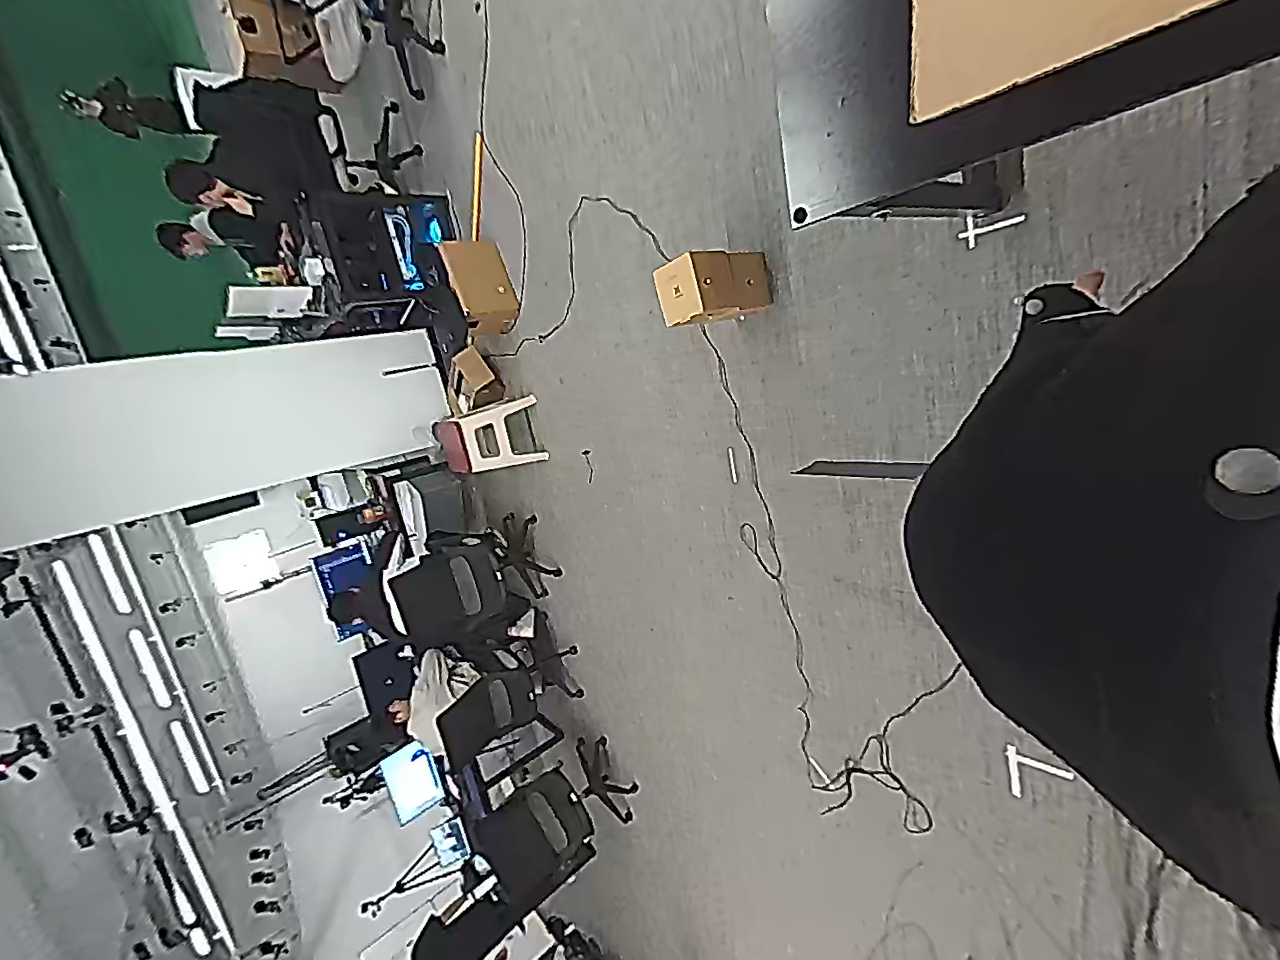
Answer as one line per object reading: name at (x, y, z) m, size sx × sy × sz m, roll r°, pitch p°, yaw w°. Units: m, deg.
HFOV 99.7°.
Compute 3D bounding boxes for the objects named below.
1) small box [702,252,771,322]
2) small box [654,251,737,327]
small box at (0.297, -0.624, 1.746) m, size 0.168 × 0.176 × 0.179 m, roll -1°, pitch 106°, yaw 52°
small box at (0.173, -0.584, 1.649) m, size 0.168 × 0.176 × 0.179 m, roll -7°, pitch 100°, yaw 52°
